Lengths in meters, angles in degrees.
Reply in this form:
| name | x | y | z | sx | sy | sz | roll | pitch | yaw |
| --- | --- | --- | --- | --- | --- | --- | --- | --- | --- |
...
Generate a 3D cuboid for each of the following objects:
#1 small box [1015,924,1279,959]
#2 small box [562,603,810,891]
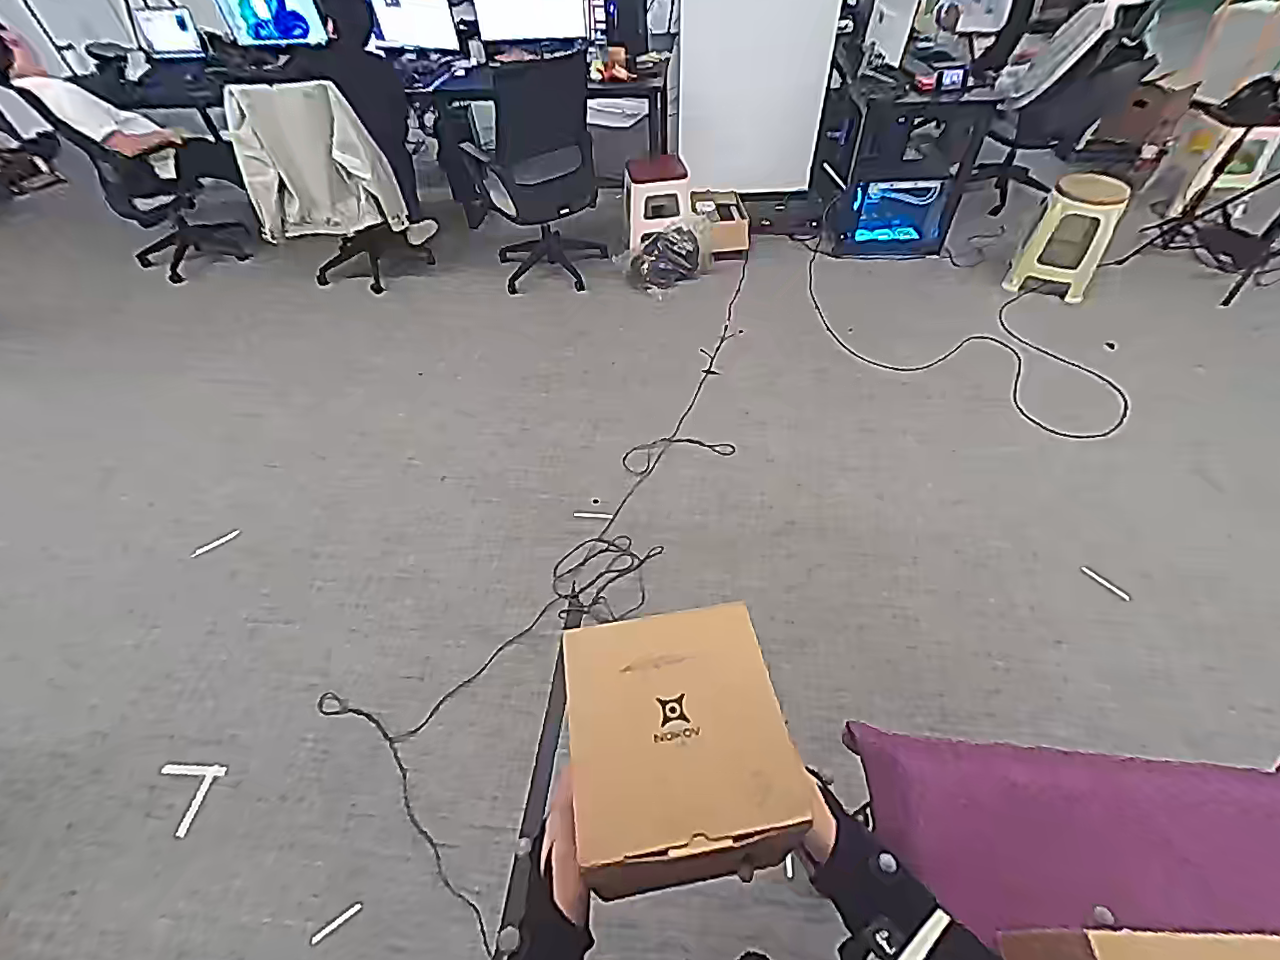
| name | x | y | z | sx | sy | sz | roll | pitch | yaw |
| --- | --- | --- | --- | --- | --- | --- | --- | --- | --- |
| small box | 0.464 | 0.494 | 0.464 | 0.179 | 0.176 | 0.168 | 0 | 50 | 2 |
| small box | 0.028 | 0.237 | 0.475 | 0.168 | 0.176 | 0.179 | -8 | 46 | -6 |
